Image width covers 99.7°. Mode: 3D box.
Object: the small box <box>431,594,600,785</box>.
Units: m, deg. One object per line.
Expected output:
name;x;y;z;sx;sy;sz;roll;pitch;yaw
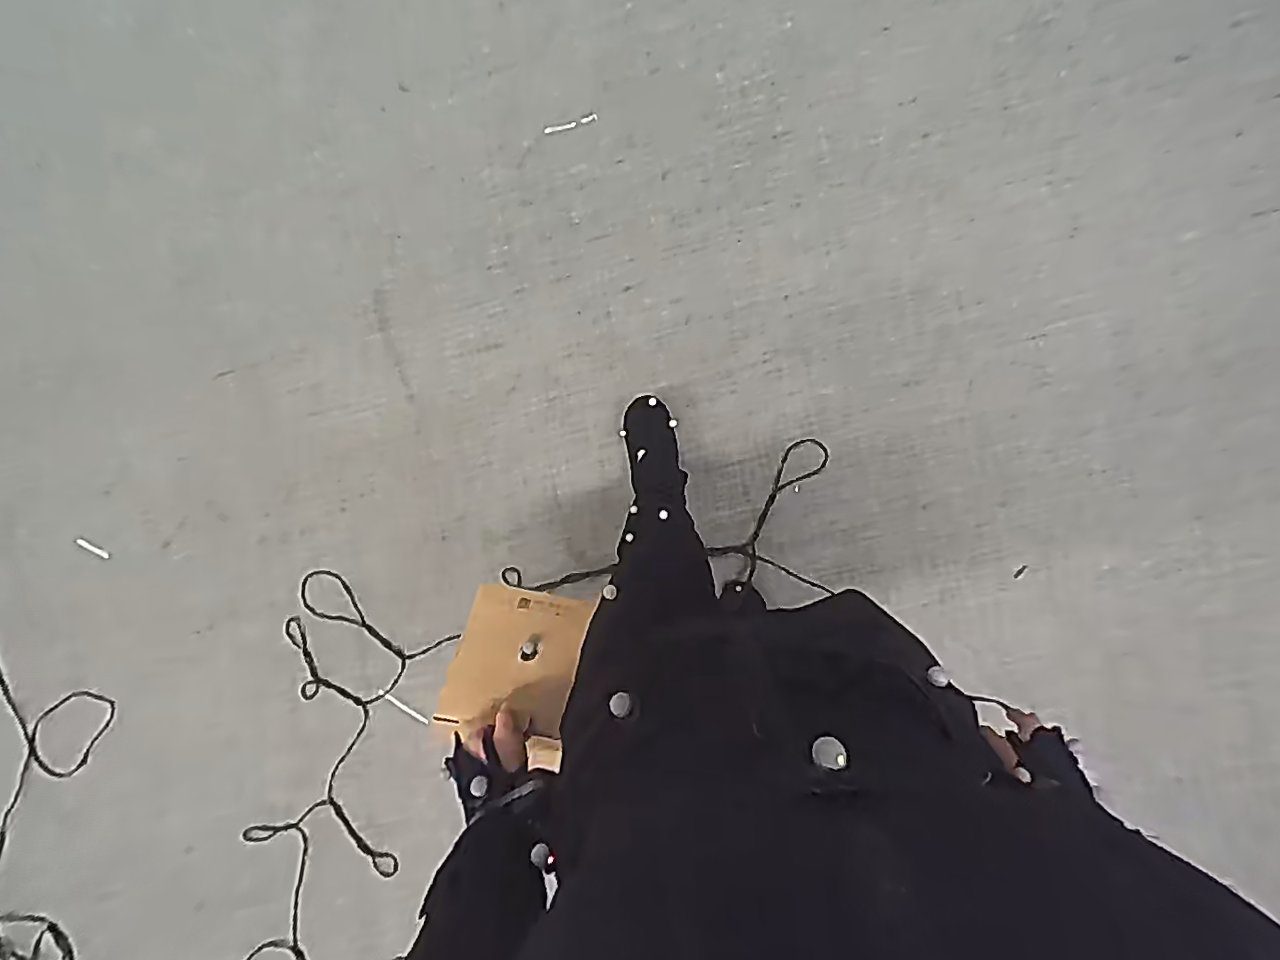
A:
small box;-0.150;0.267;0.695;0.168;0.179;0.176;12;48;-2
